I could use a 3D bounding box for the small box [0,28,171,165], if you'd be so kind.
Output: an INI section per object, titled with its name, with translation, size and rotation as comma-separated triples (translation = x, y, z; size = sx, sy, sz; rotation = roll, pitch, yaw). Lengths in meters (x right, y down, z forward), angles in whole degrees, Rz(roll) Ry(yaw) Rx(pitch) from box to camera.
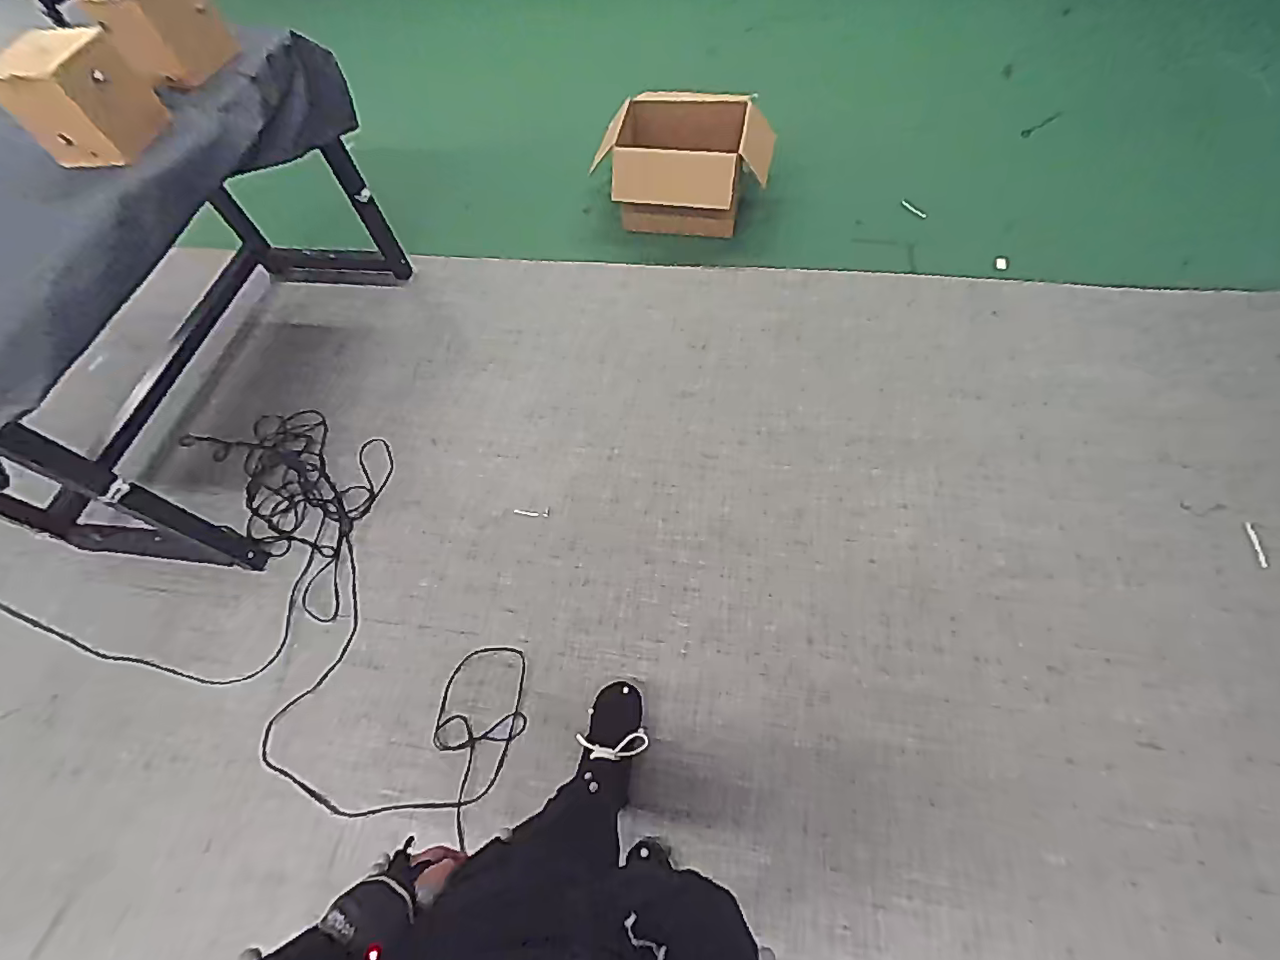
[small box]
translation = -1.110, -0.767, 1.087
size = 0.168, 0.176, 0.179
rotation = 3, 62, 7
